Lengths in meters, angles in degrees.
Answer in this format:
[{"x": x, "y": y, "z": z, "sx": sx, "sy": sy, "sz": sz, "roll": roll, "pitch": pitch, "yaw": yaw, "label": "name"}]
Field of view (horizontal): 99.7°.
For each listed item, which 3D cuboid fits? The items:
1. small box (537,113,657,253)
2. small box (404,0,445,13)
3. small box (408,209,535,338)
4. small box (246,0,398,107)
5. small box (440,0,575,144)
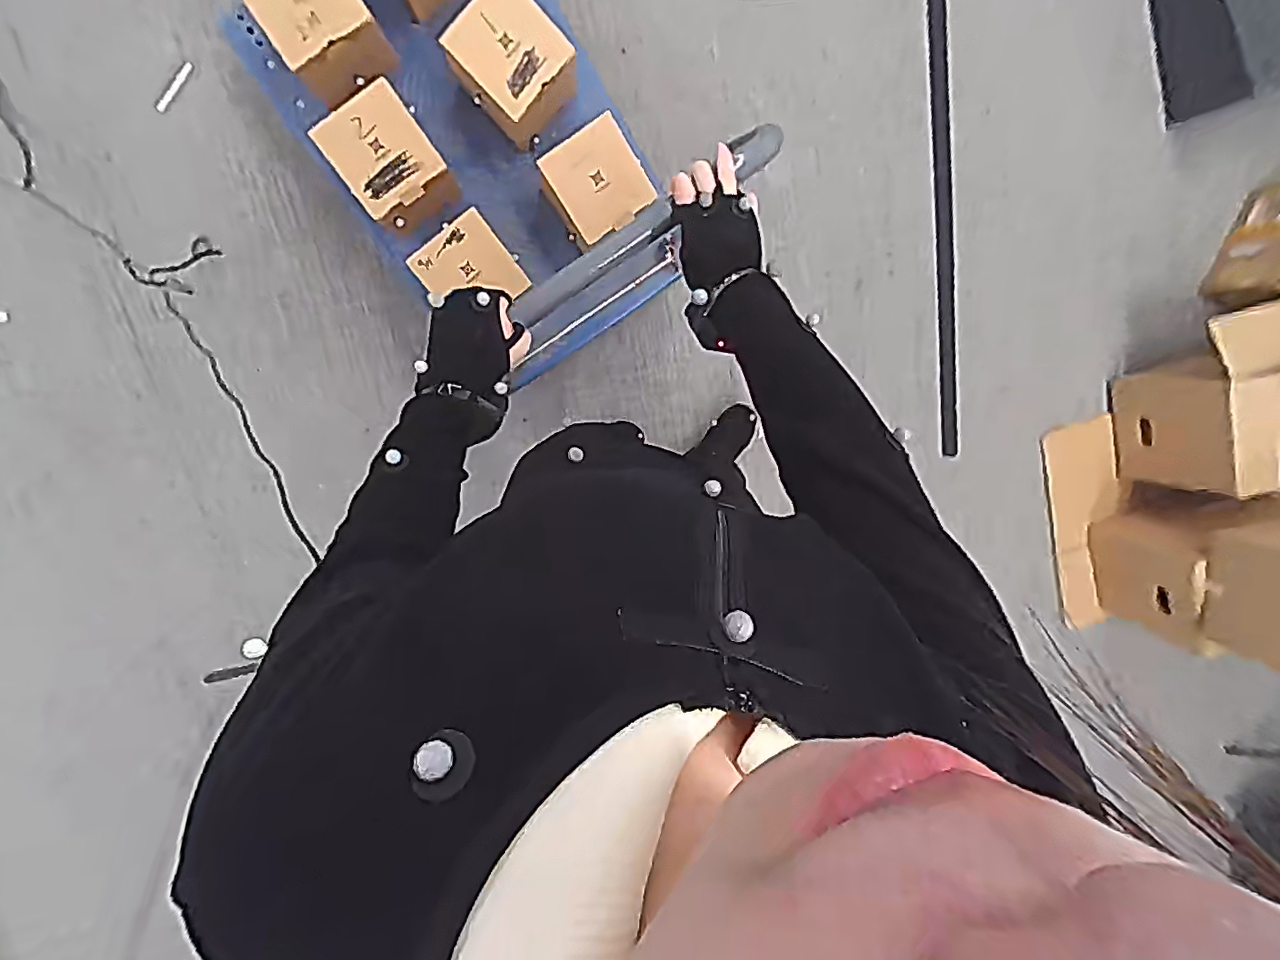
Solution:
[{"x": -0.086, "y": -0.581, "z": 1.093, "sx": 0.168, "sy": 0.176, "sz": 0.179, "roll": -34, "pitch": 104, "yaw": 1, "label": "small box"}, {"x": -0.403, "y": -0.984, "z": 0.954, "sx": 0.168, "sy": 0.176, "sz": 0.179, "roll": -37, "pitch": 105, "yaw": 3, "label": "small box"}, {"x": -0.330, "y": -0.408, "z": 1.100, "sx": 0.168, "sy": 0.176, "sz": 0.179, "roll": -38, "pitch": 105, "yaw": 1, "label": "small box"}, {"x": -0.574, "y": -0.824, "z": 0.968, "sx": 0.168, "sy": 0.176, "sz": 0.179, "roll": -33, "pitch": 106, "yaw": 1, "label": "small box"}, {"x": -0.239, "y": -0.778, "z": 1.024, "sx": 0.179, "sy": 0.176, "sz": 0.168, "roll": 43, "pitch": 95, "yaw": -14, "label": "small box"}]
